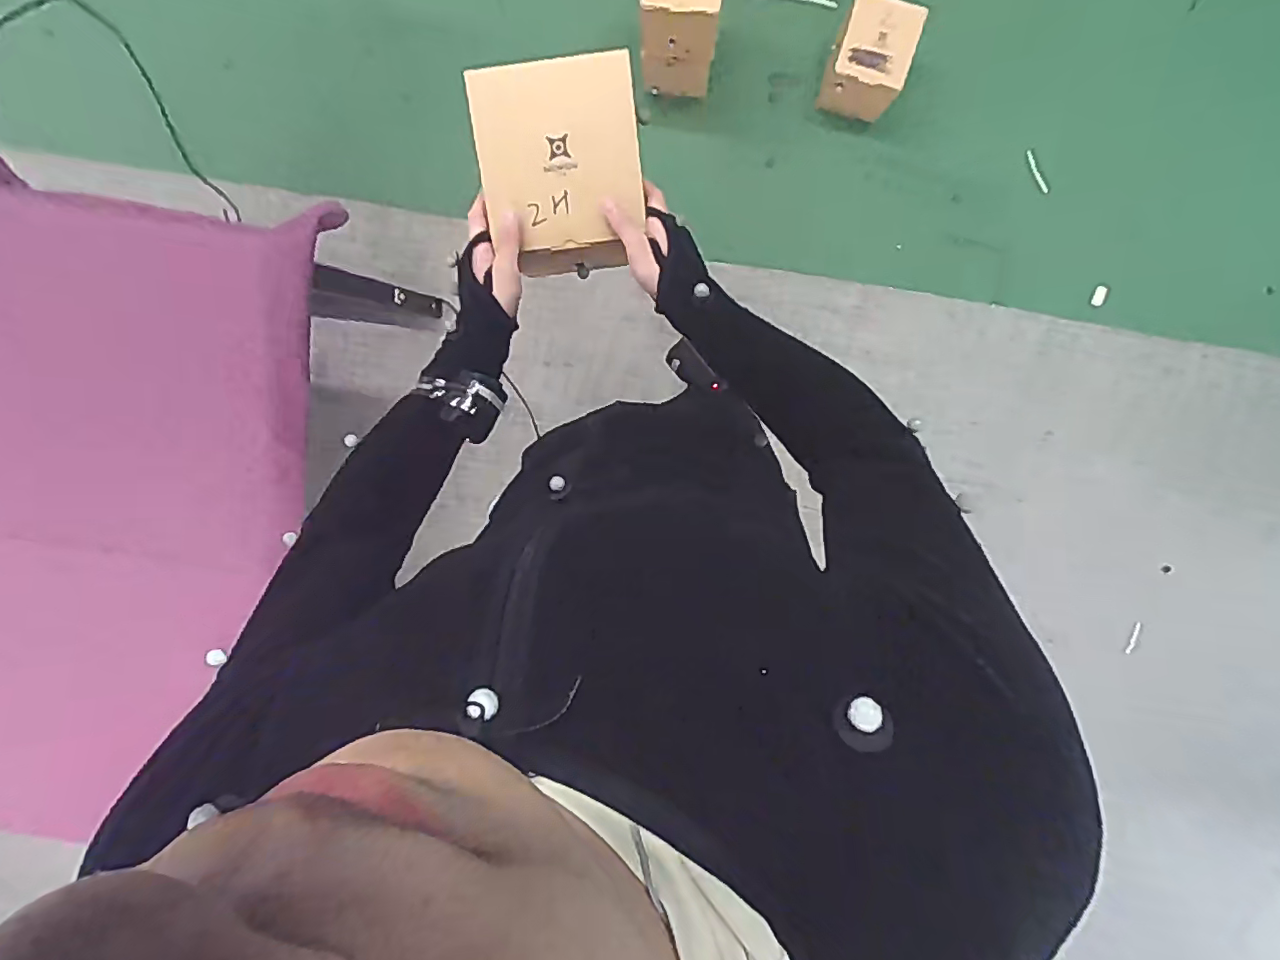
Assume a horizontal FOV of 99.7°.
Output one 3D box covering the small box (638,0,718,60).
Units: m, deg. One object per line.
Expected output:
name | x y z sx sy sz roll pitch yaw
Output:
small box | 0.085 -1.055 1.166 0.168 0.176 0.179 6 102 1

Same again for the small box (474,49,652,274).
small box | -0.077 -0.348 0.624 0.168 0.176 0.179 -5 103 1

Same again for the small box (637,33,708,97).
small box | 0.088 -1.079 1.327 0.168 0.176 0.179 7 101 1
